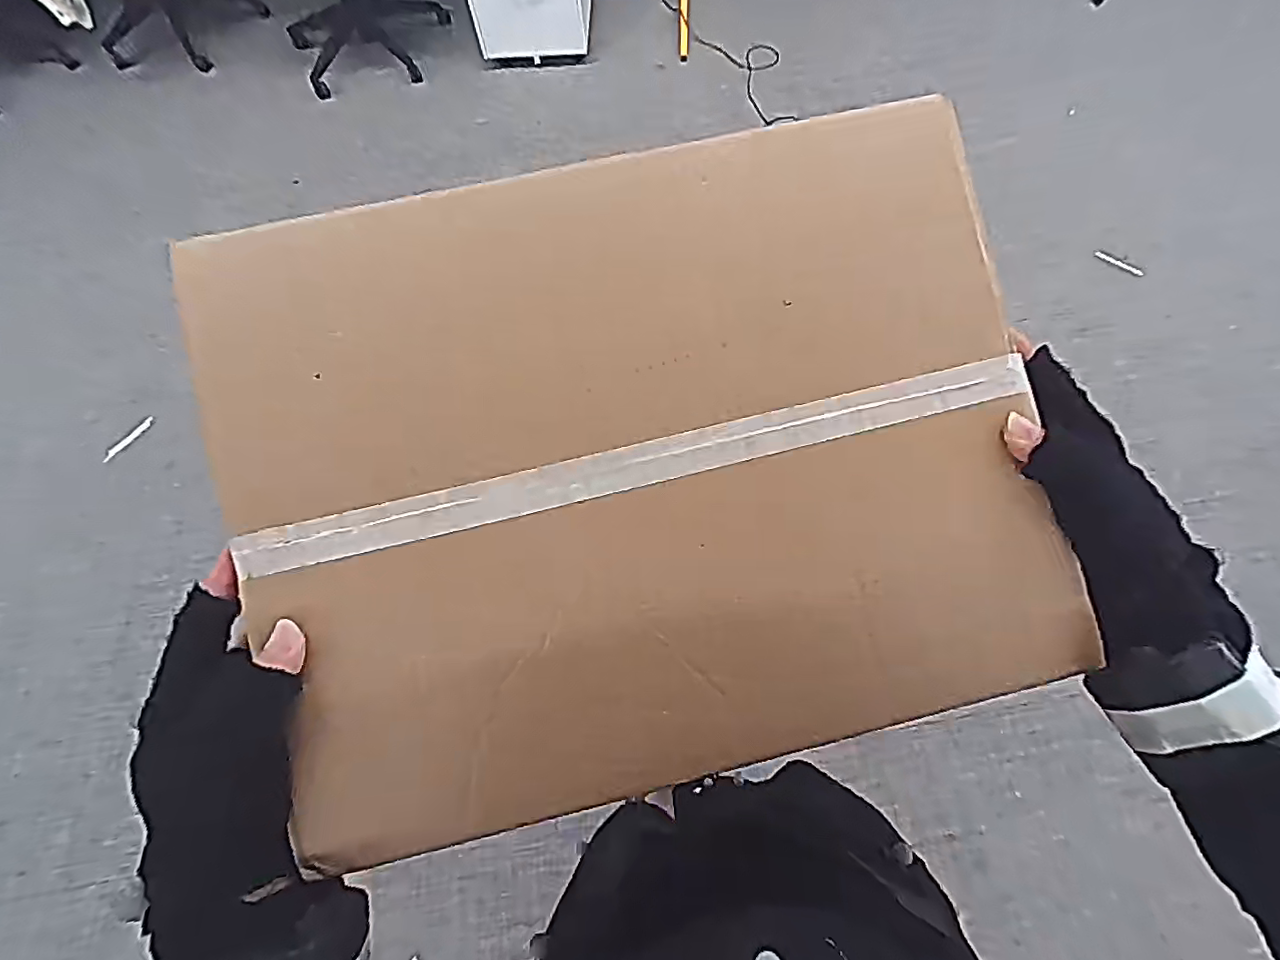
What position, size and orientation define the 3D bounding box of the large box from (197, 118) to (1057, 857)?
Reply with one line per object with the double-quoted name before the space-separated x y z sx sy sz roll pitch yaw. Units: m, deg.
"large box" -0.007 -0.002 0.431 0.408 0.320 0.320 -13 87 -4
